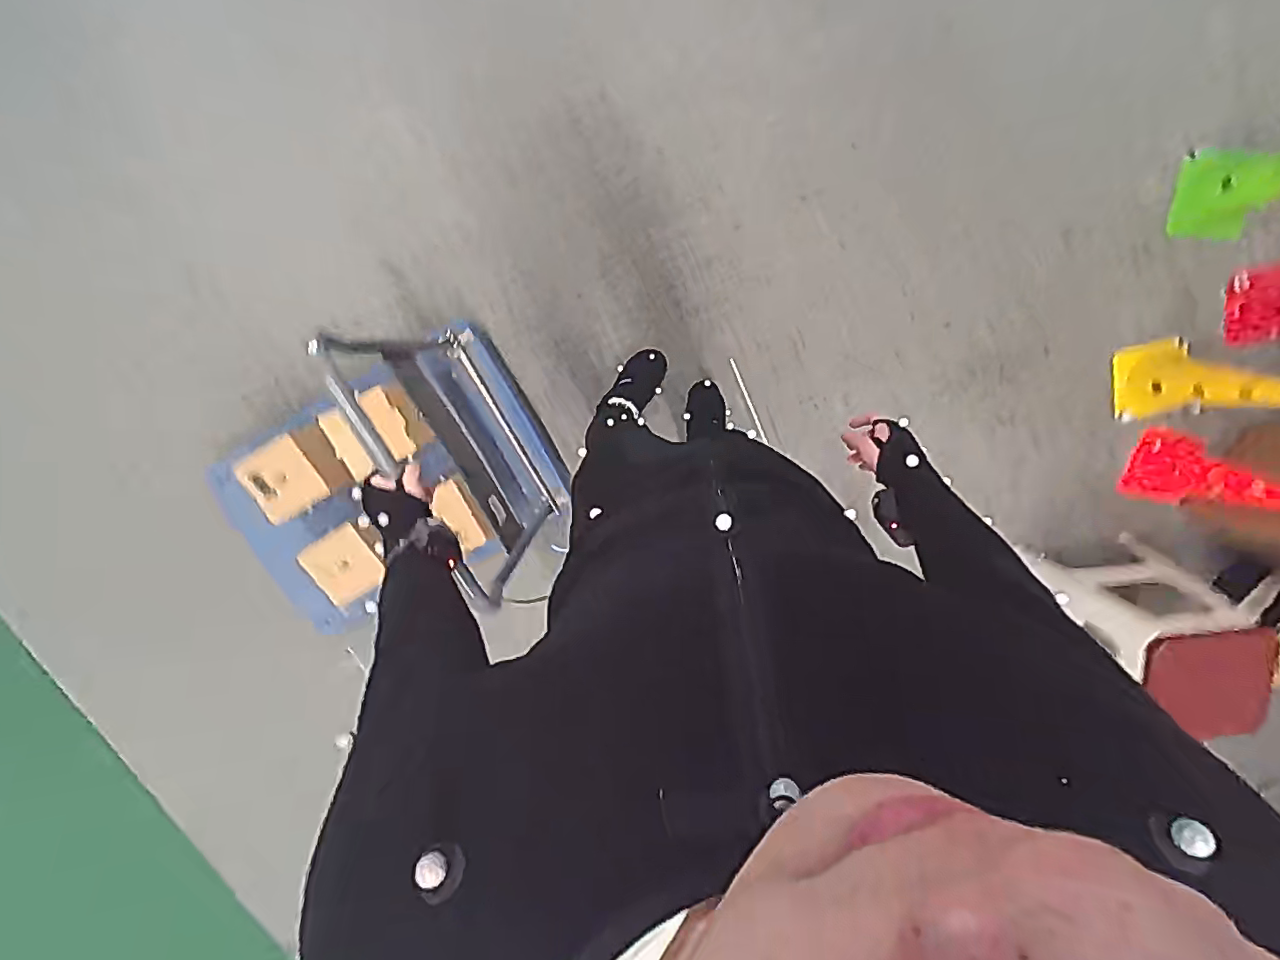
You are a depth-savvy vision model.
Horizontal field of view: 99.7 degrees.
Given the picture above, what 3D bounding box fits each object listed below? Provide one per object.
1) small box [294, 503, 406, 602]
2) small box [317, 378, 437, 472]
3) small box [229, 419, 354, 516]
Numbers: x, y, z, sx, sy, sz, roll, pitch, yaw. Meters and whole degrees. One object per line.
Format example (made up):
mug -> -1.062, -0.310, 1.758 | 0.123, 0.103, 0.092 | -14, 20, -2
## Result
small box -> -0.746, 0.183, 1.422 | 0.179, 0.176, 0.168 | -30, 102, 7
small box -> -0.640, -0.140, 1.340 | 0.179, 0.176, 0.168 | -25, 103, 6
small box -> -0.864, -0.036, 1.365 | 0.179, 0.176, 0.168 | -28, 103, 6
